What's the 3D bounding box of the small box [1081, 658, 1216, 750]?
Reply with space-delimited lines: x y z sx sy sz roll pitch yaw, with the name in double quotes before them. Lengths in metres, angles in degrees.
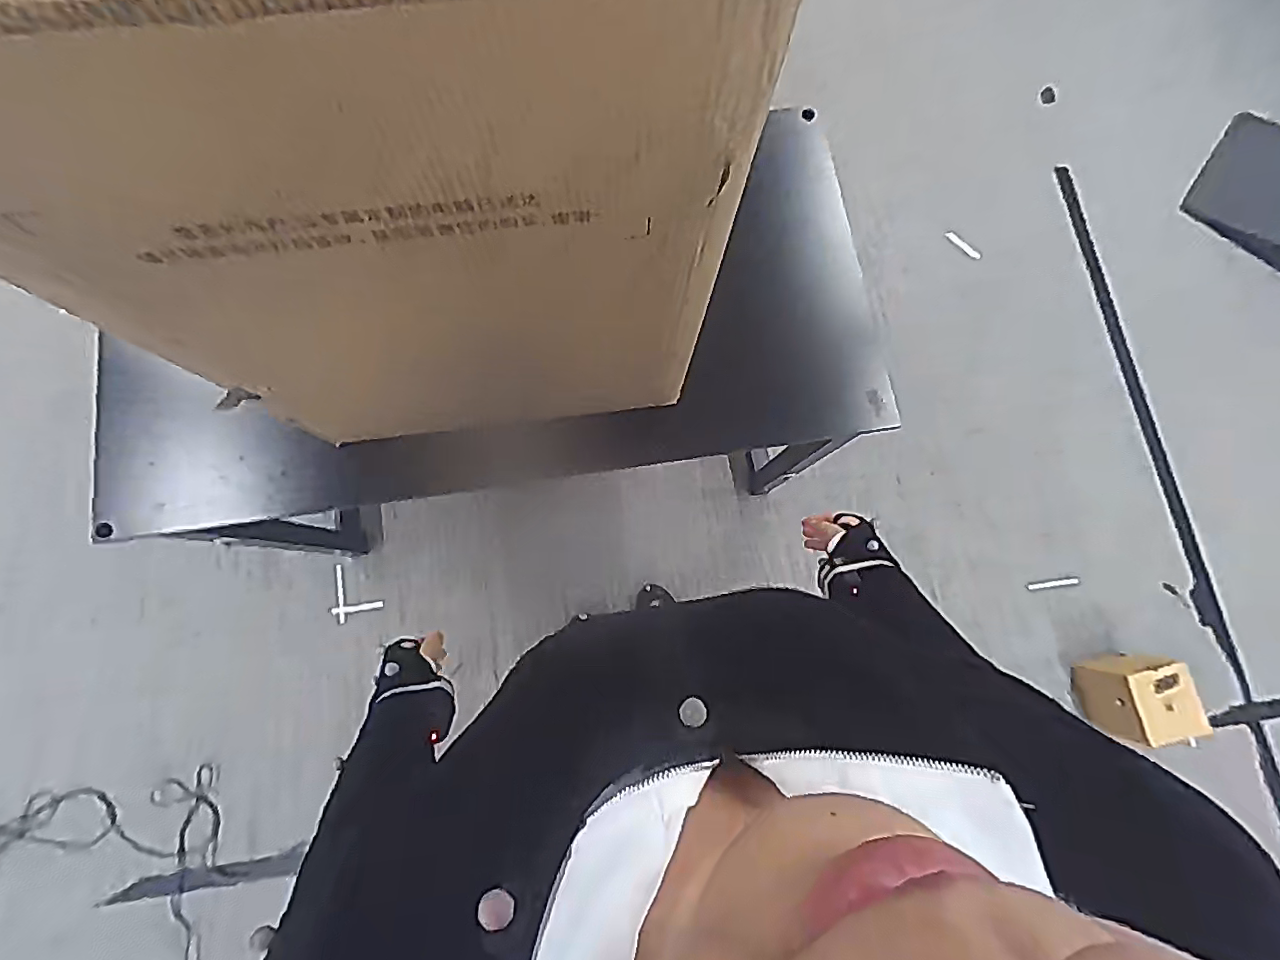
"small box" 1.309 0.572 1.409 0.168 0.176 0.179 -12 80 -4
